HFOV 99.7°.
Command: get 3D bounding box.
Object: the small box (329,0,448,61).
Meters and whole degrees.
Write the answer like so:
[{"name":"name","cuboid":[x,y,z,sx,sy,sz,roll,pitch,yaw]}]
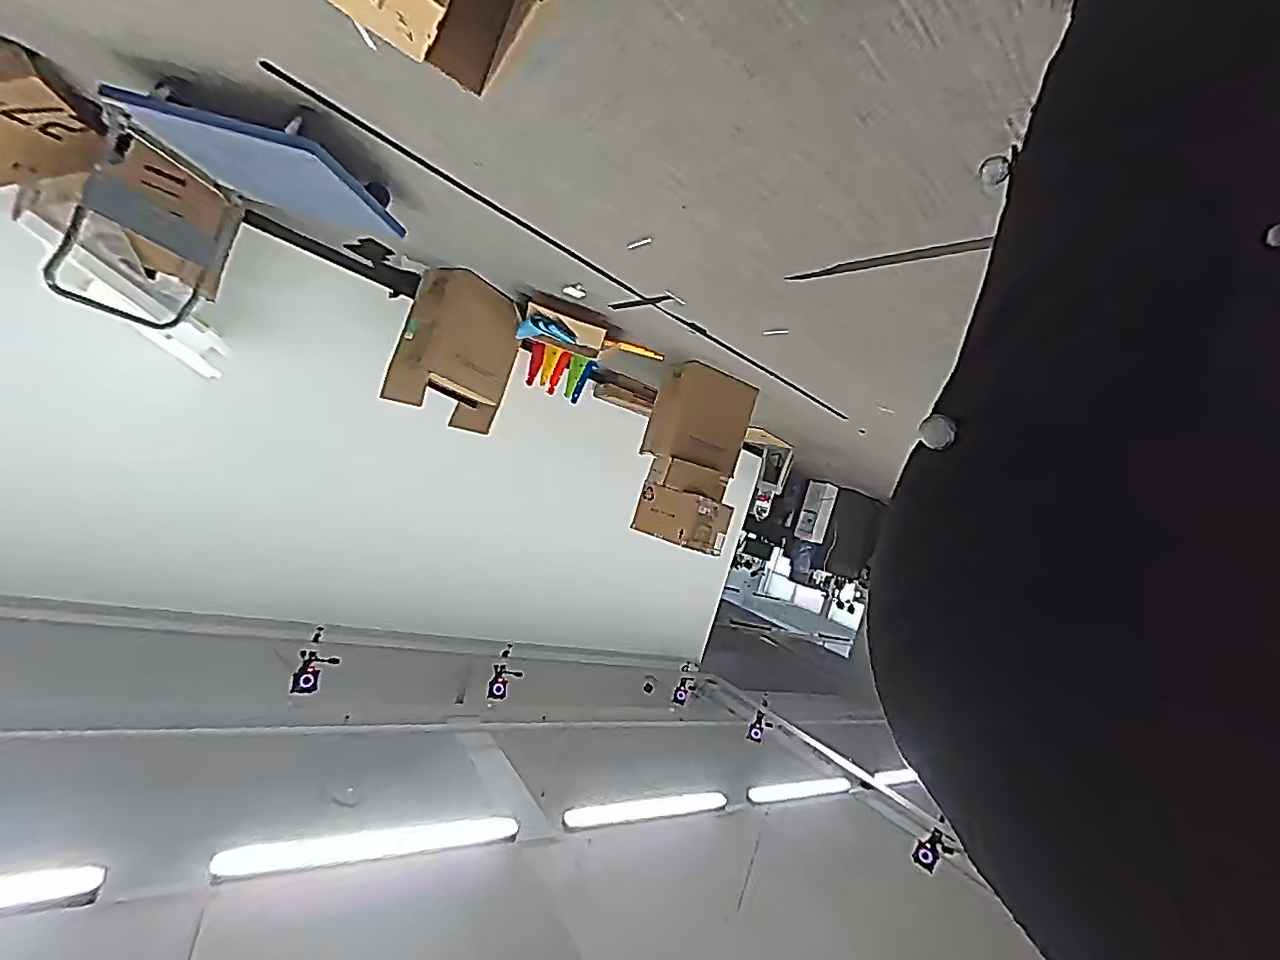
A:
[{"name":"small box","cuboid":[-0.366,-0.787,0.792,0.179,0.176,0.168,19,179,-35]}]
